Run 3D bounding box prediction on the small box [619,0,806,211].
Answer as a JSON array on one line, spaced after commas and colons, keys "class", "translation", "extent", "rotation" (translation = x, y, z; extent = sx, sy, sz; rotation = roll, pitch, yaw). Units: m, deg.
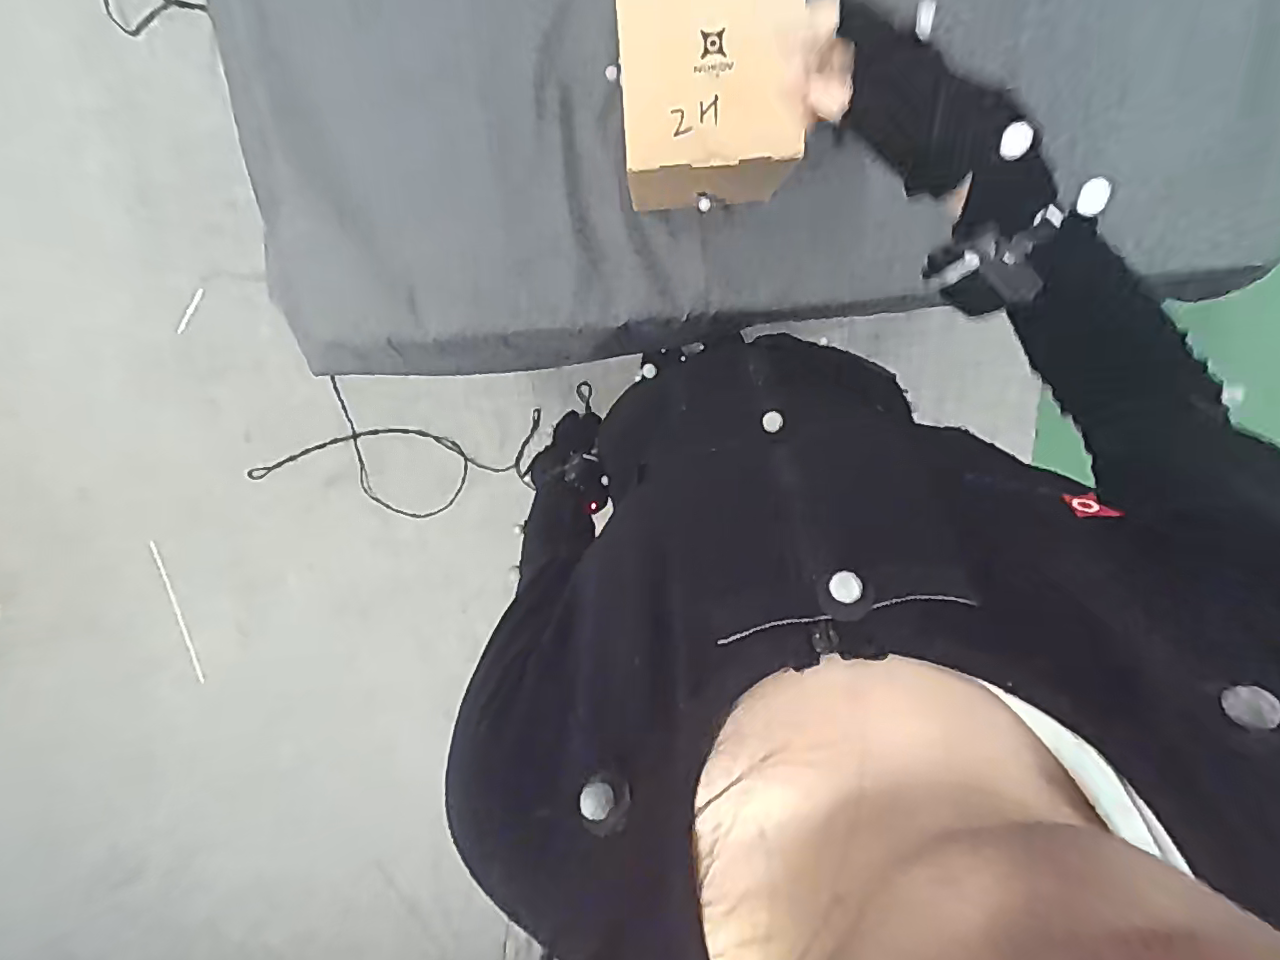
[{"class": "small box", "translation": [0.066, -0.396, 0.557], "extent": [0.168, 0.176, 0.179], "rotation": [-3, 105, 3]}]
